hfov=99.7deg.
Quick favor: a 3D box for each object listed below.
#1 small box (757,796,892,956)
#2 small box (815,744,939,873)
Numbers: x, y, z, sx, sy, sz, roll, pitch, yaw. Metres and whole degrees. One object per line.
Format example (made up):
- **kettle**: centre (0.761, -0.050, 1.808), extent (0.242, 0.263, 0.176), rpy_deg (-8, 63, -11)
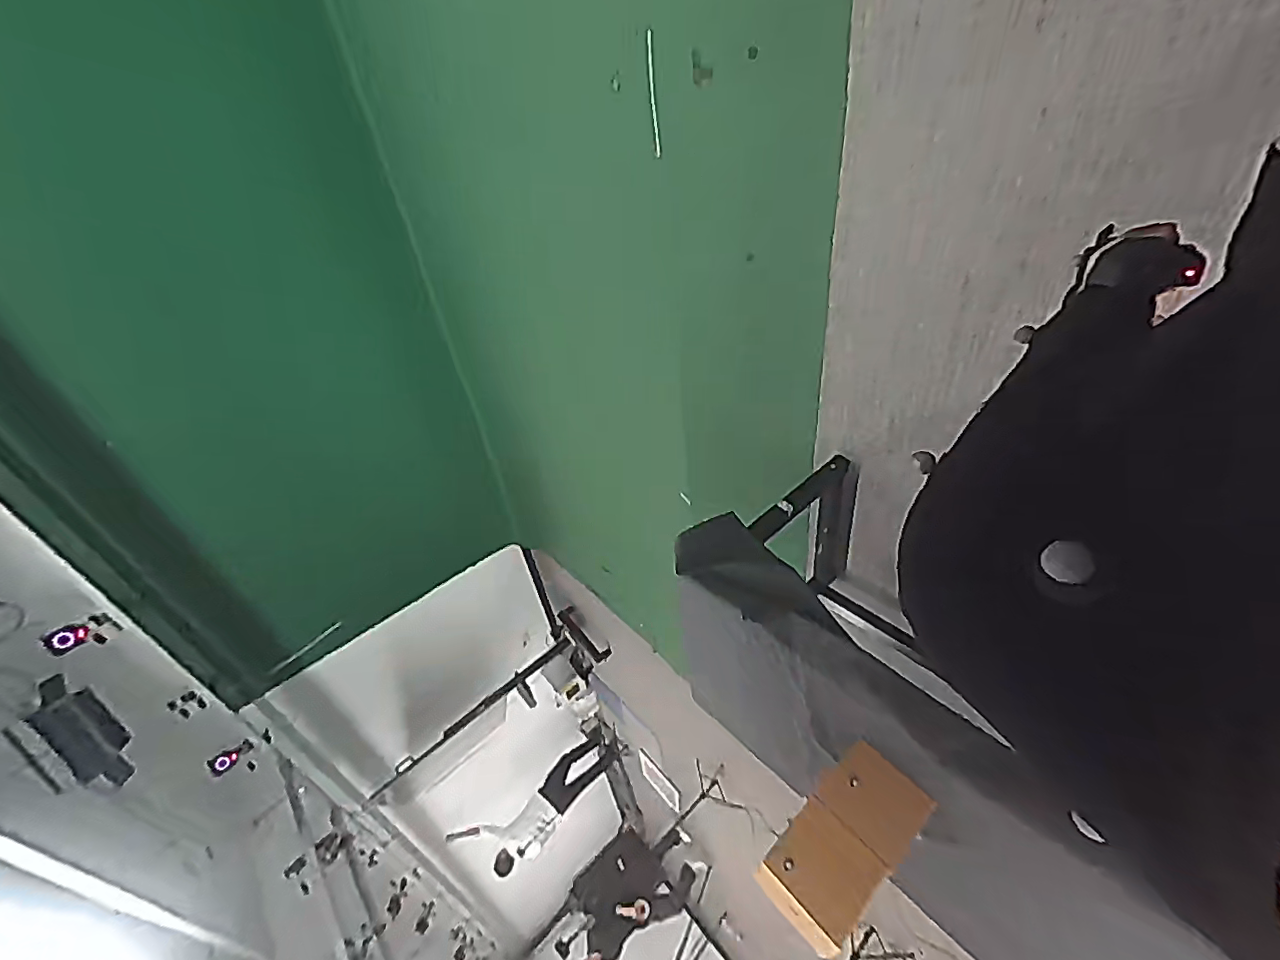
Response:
- **small box**: centre (0.356, 0.766, 1.054), extent (0.179, 0.176, 0.168), rpy_deg (37, 148, 34)
- **small box**: centre (0.477, 0.684, 1.125), extent (0.179, 0.176, 0.168), rpy_deg (36, 147, 33)
